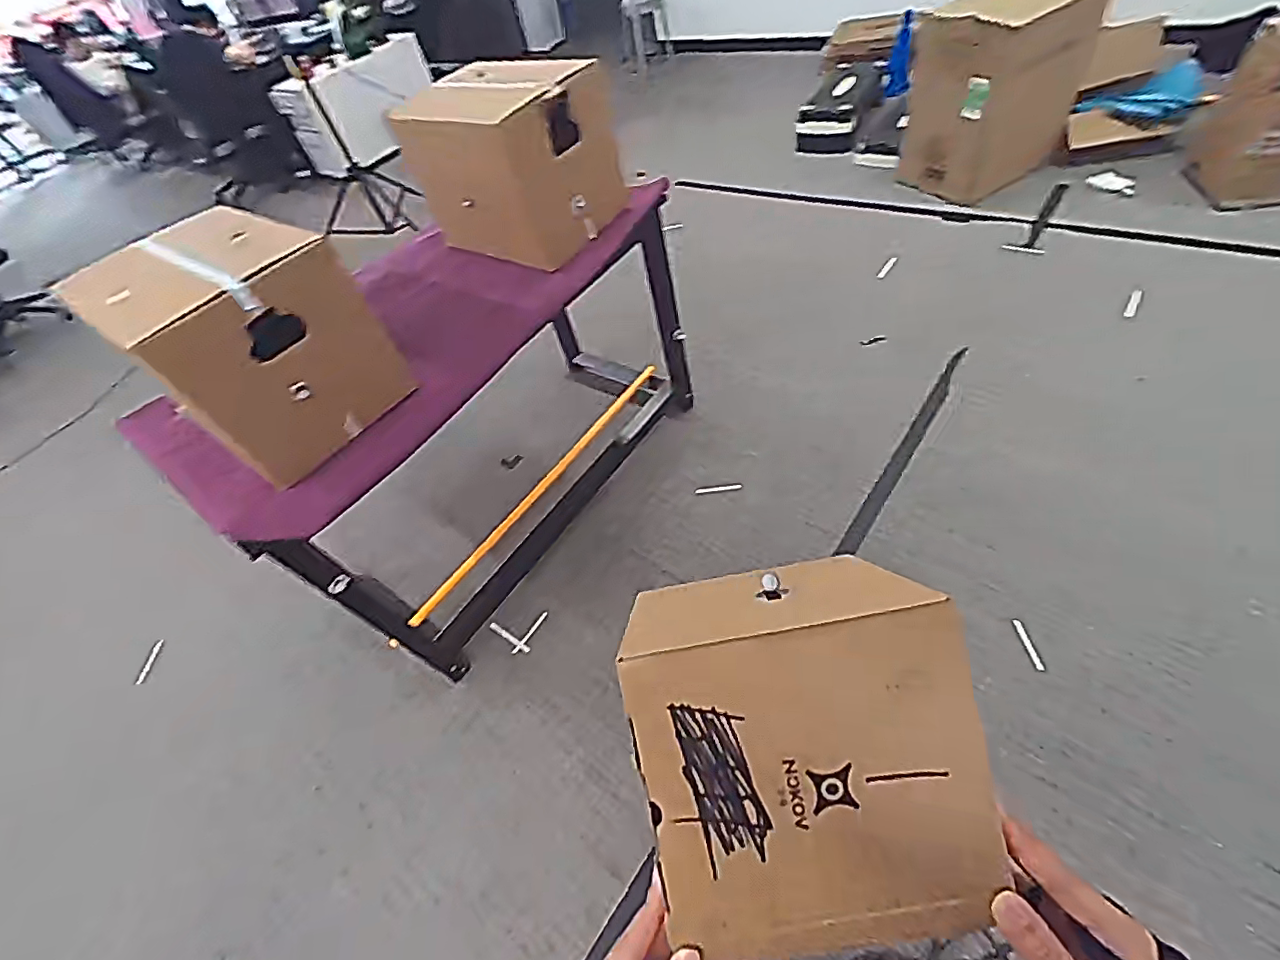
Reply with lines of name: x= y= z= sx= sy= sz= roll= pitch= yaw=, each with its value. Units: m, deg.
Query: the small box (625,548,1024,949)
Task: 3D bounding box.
small box: x=0.096 y=0.145 z=0.352 sx=0.179 sy=0.176 sz=0.168 roll=-11 pitch=89 yaw=3

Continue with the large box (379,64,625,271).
large box: x=-0.305 y=-0.734 z=1.277 sx=0.408 sy=0.320 sz=0.320 roll=24 pitch=61 yaw=30
